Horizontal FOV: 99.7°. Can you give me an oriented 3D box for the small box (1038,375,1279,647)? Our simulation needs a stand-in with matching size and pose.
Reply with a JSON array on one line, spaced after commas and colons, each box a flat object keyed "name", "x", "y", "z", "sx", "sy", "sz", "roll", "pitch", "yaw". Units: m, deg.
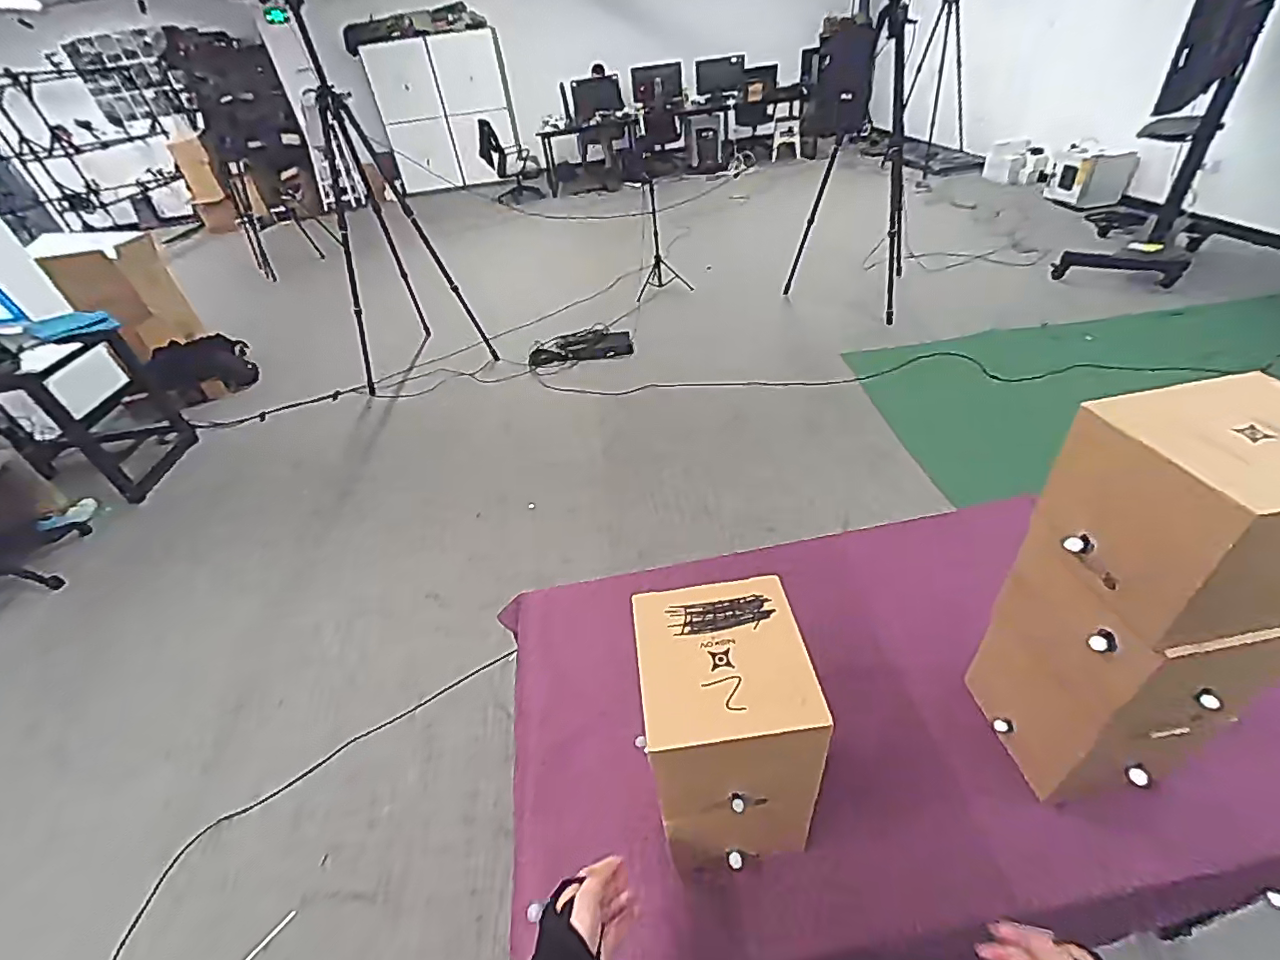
[{"name": "small box", "x": 0.522, "y": 0.027, "z": 0.496, "sx": 0.179, "sy": 0.176, "sz": 0.168, "roll": -10, "pitch": 38, "yaw": -1}]

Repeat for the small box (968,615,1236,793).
[{"name": "small box", "x": 0.568, "y": 0.281, "z": 0.700, "sx": 0.168, "sy": 0.176, "sz": 0.179, "roll": -9, "pitch": 40, "yaw": -1}]

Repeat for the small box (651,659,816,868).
[{"name": "small box", "x": 0.108, "y": 0.359, "z": 0.689, "sx": 0.168, "sy": 0.176, "sz": 0.179, "roll": -8, "pitch": 40, "yaw": 0}]

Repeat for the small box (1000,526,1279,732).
[{"name": "small box", "x": 0.546, "y": 0.155, "z": 0.595, "sx": 0.168, "sy": 0.176, "sz": 0.179, "roll": -9, "pitch": 39, "yaw": -1}]
